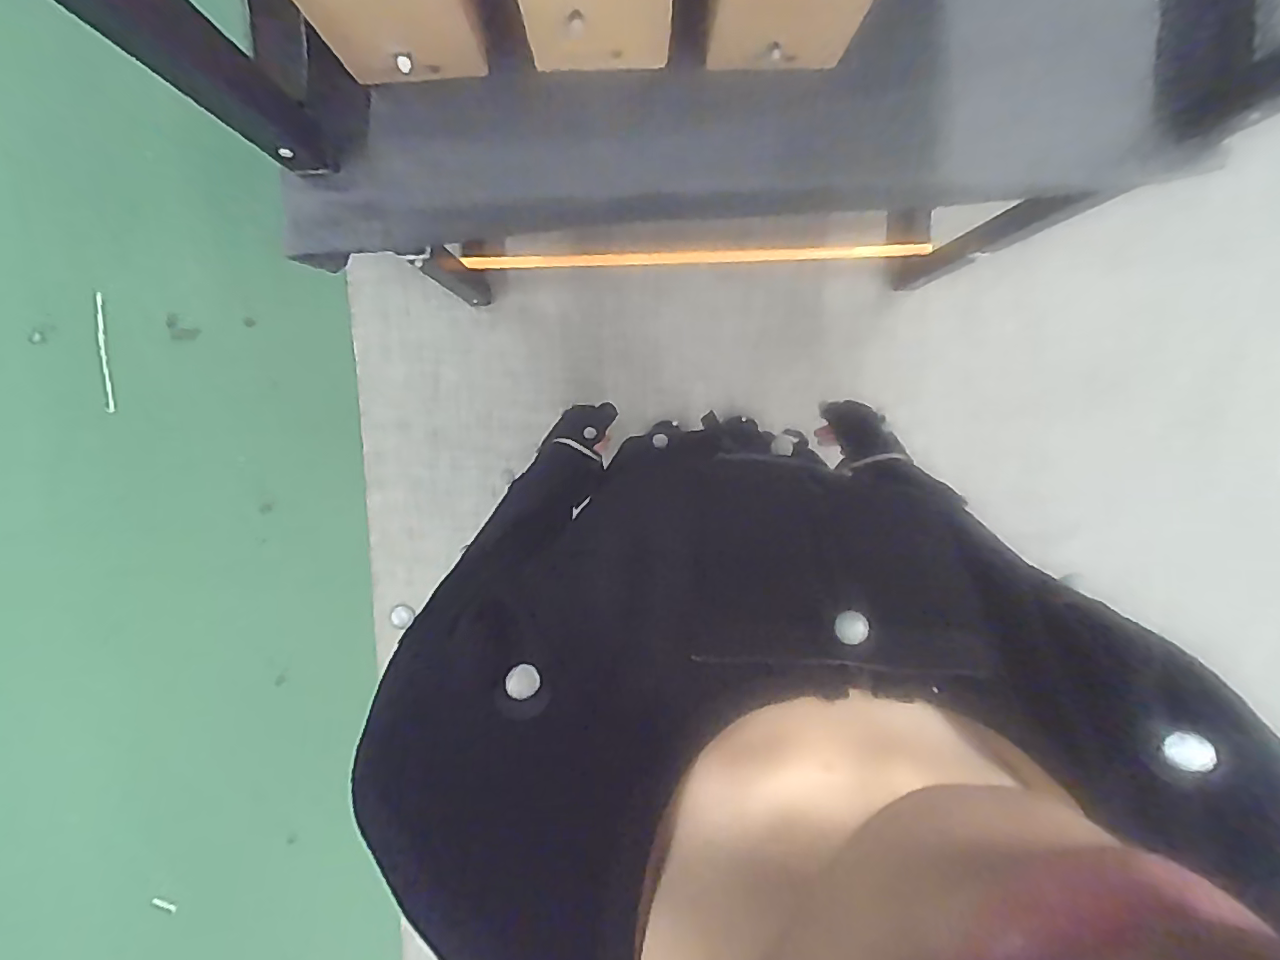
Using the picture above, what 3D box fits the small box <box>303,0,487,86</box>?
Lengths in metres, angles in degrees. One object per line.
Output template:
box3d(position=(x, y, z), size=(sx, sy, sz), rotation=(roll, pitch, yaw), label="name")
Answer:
box3d(position=(-0.277, -0.579, 0.594), size=(0.168, 0.176, 0.179), rotation=(-4, 96, 0), label="small box")

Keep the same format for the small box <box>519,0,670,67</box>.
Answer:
box3d(position=(-0.050, -0.594, 0.596), size=(0.168, 0.176, 0.179), rotation=(-2, 95, 0), label="small box")
